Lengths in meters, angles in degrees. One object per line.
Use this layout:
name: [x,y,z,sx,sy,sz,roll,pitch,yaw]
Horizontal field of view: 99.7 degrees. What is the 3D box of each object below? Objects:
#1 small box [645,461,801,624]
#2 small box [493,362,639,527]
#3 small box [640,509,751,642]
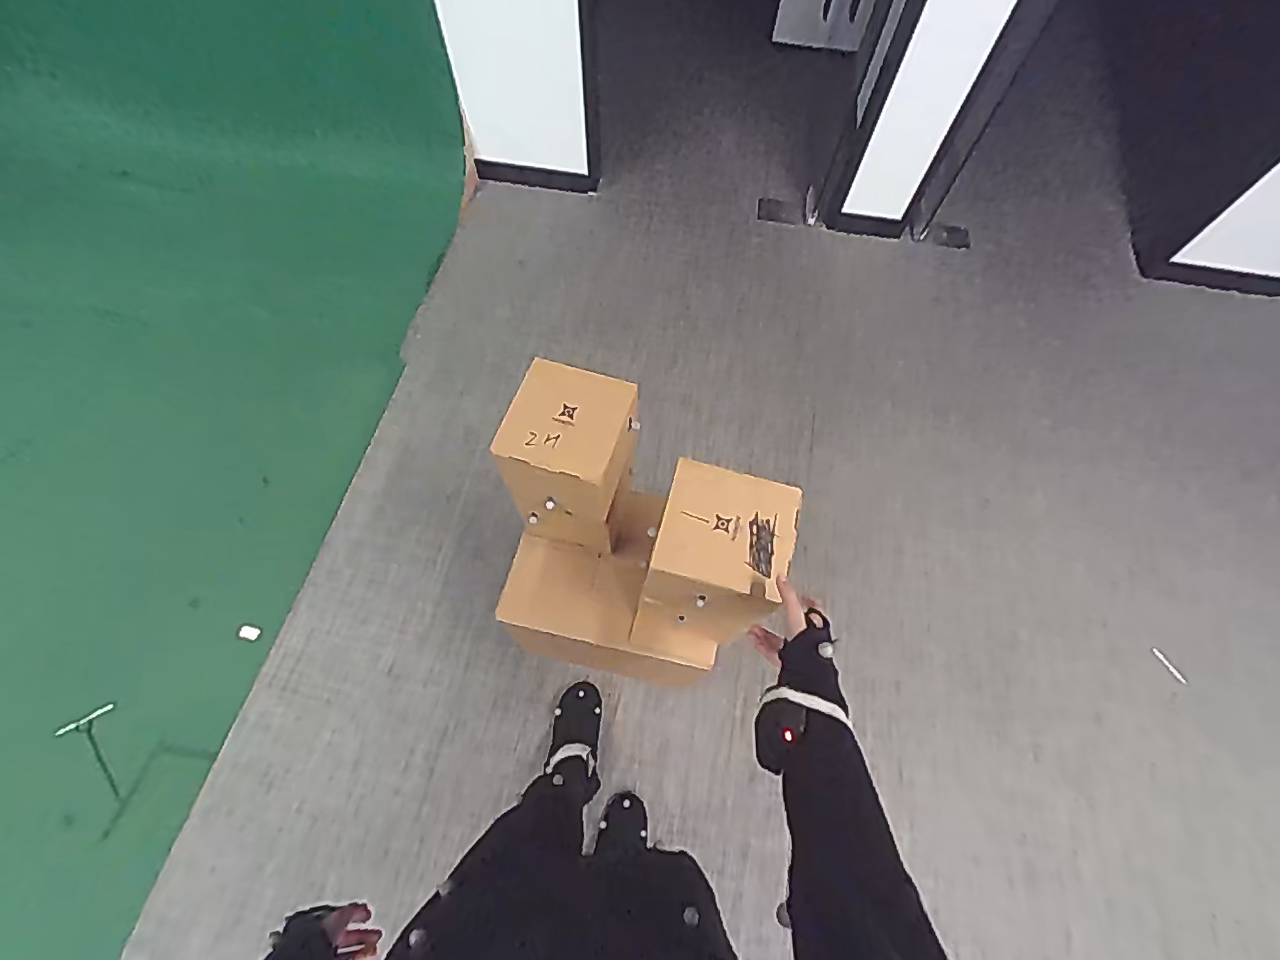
small box: [0.112,0.099,0.782,0.179,0.176,0.168,15,65,5]
small box: [-0.107,-0.051,0.852,0.168,0.176,0.179,16,65,7]
small box: [0.103,0.170,0.930,0.179,0.176,0.168,14,66,6]
